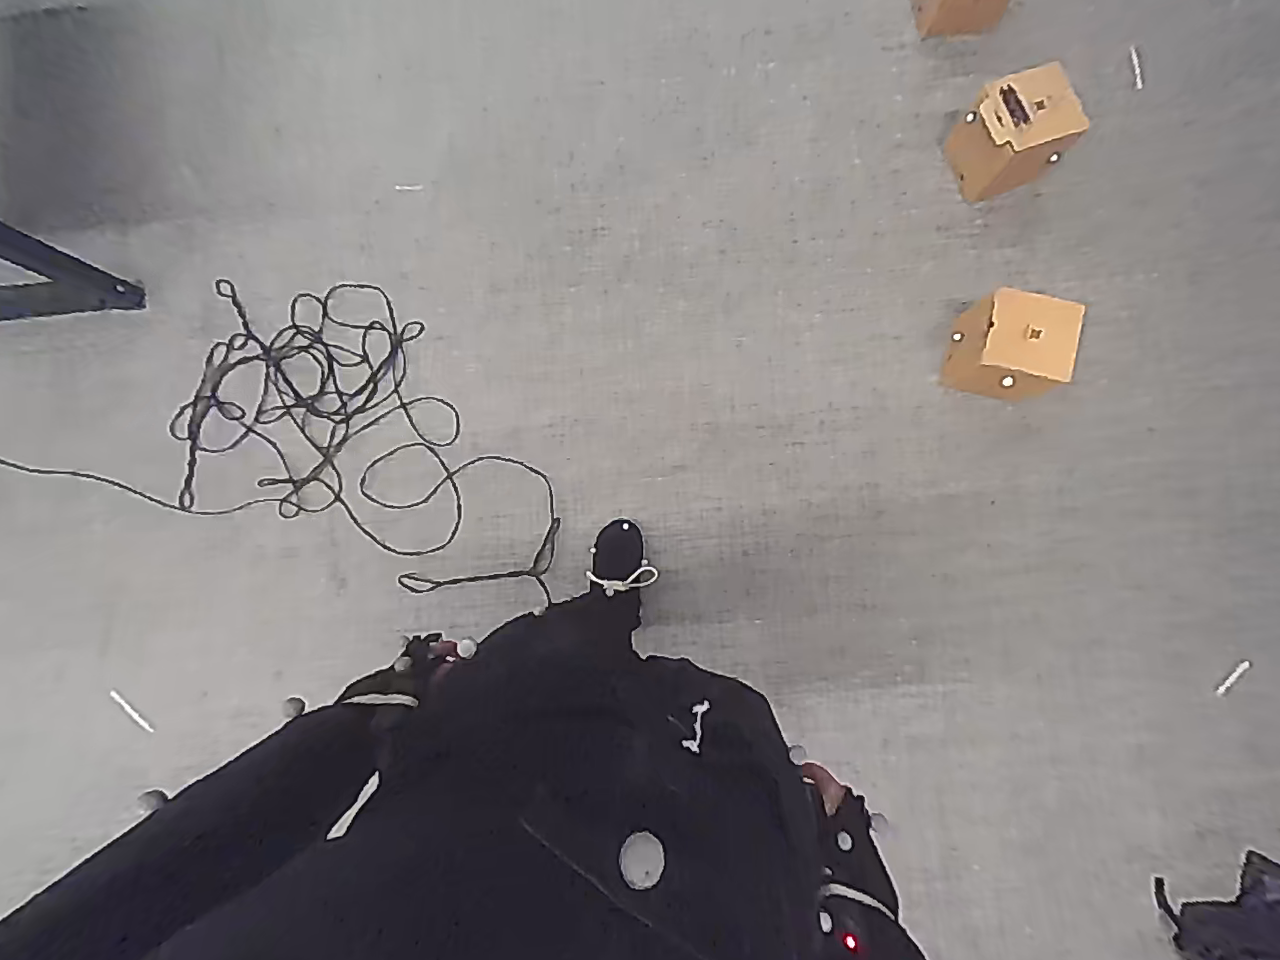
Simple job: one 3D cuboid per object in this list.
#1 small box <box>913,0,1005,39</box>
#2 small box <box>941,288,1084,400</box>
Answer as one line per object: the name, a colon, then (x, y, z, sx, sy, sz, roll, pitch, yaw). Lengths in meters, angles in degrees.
small box: (0.754, -1.170, 1.252, 0.179, 0.176, 0.168, -8, 84, 1)
small box: (0.783, -0.279, 1.151, 0.179, 0.176, 0.168, 14, 85, 4)
